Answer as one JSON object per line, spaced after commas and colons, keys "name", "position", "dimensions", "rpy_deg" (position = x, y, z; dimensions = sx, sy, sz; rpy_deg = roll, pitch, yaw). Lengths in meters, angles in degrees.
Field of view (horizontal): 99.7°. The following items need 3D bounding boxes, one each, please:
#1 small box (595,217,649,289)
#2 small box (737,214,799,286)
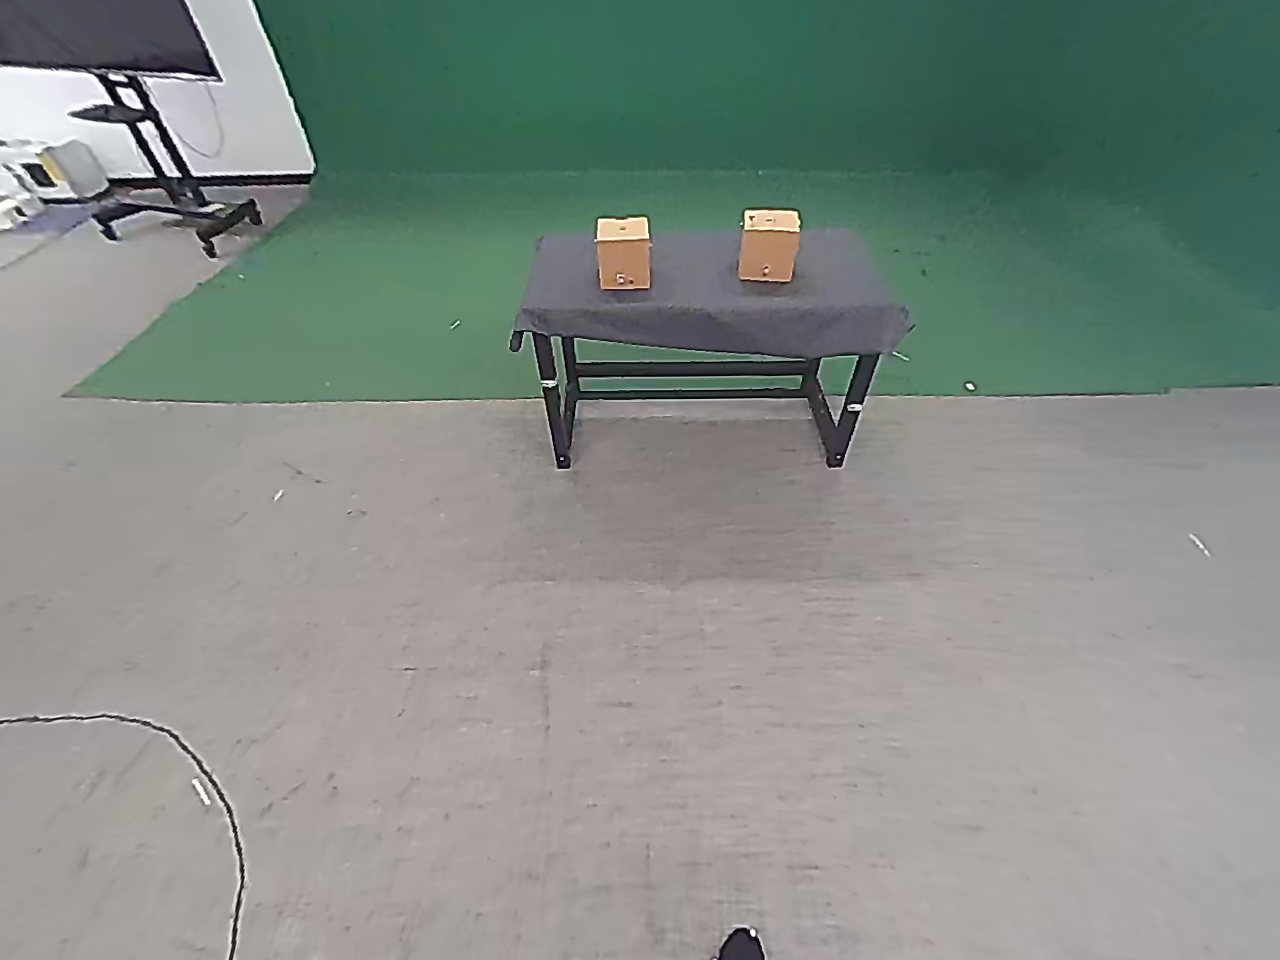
{"name": "small box", "position": [-0.055, -0.748, 1.781], "dimensions": [0.168, 0.176, 0.179], "rpy_deg": [-2, 46, 2]}
{"name": "small box", "position": [0.426, -0.771, 1.816], "dimensions": [0.179, 0.176, 0.168], "rpy_deg": [6, 46, 6]}
